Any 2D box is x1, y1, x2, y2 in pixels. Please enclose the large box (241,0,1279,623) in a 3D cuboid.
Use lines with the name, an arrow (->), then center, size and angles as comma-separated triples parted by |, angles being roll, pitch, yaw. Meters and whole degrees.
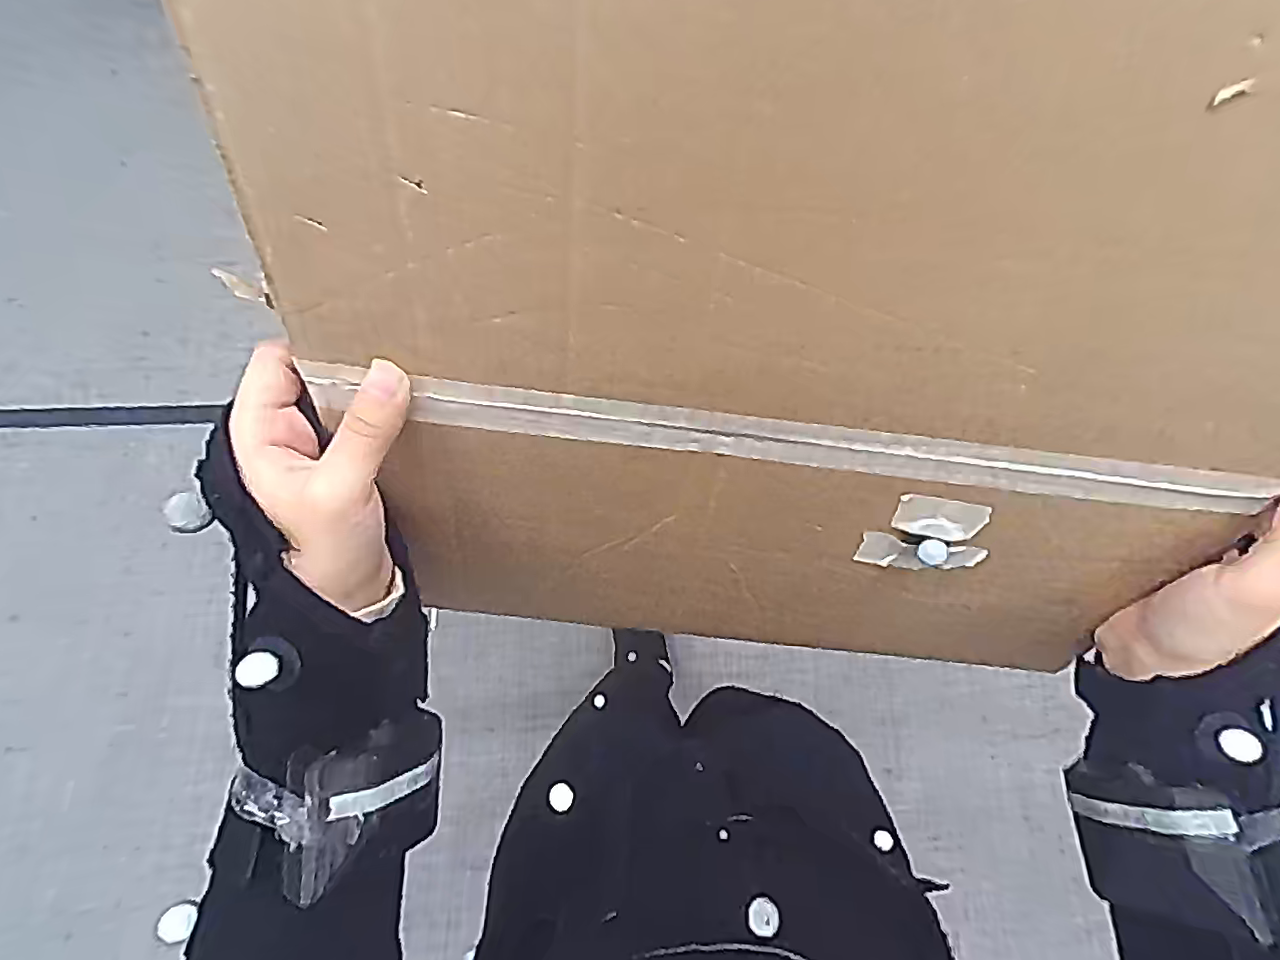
large box -> 0.082, -0.143, 0.326 | 0.408, 0.320, 0.320 | 6, 44, -3
